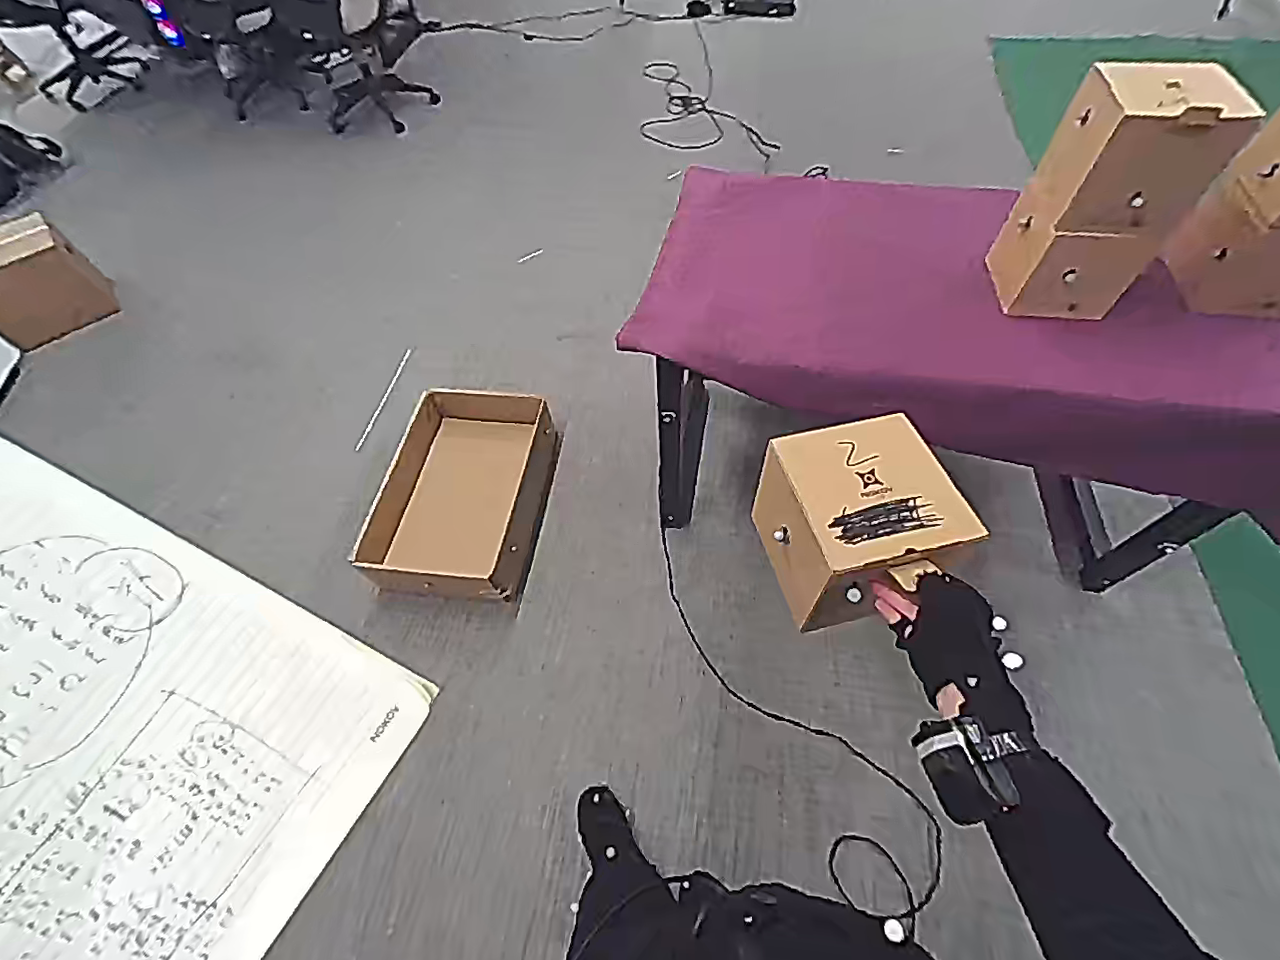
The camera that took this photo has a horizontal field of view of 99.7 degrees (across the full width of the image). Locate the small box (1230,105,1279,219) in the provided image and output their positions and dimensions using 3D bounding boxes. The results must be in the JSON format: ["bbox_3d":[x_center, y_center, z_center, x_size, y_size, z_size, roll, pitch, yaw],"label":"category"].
[{"bbox_3d":[1.059,-0.495,0.800,0.168,0.176,0.179,8,59,8],"label":"small box"}]

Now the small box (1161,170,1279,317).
[{"bbox_3d":[1.074,-0.406,0.937,0.168,0.176,0.179,8,58,9],"label":"small box"}]

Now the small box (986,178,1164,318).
[{"bbox_3d":[0.754,-0.410,0.962,0.168,0.176,0.179,5,57,7],"label":"small box"}]

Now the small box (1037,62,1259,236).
[{"bbox_3d":[0.748,-0.504,0.827,0.168,0.176,0.179,8,58,9],"label":"small box"}]
